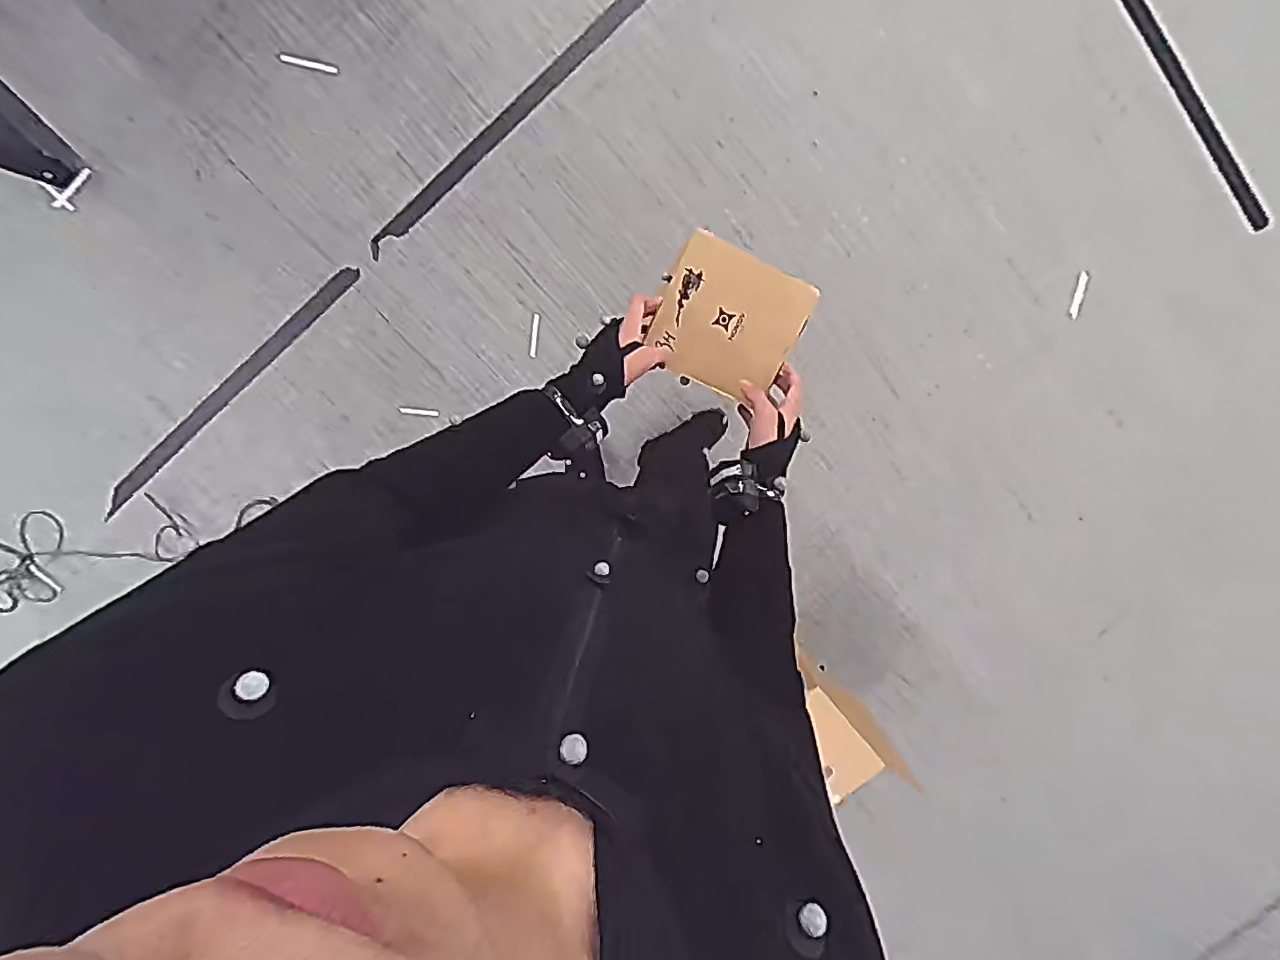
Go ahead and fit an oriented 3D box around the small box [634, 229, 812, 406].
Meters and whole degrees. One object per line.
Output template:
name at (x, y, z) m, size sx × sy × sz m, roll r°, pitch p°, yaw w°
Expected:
small box at (0.102, -0.226, 0.757) m, size 0.179 × 0.176 × 0.168 m, roll 23°, pitch 105°, yaw -9°
